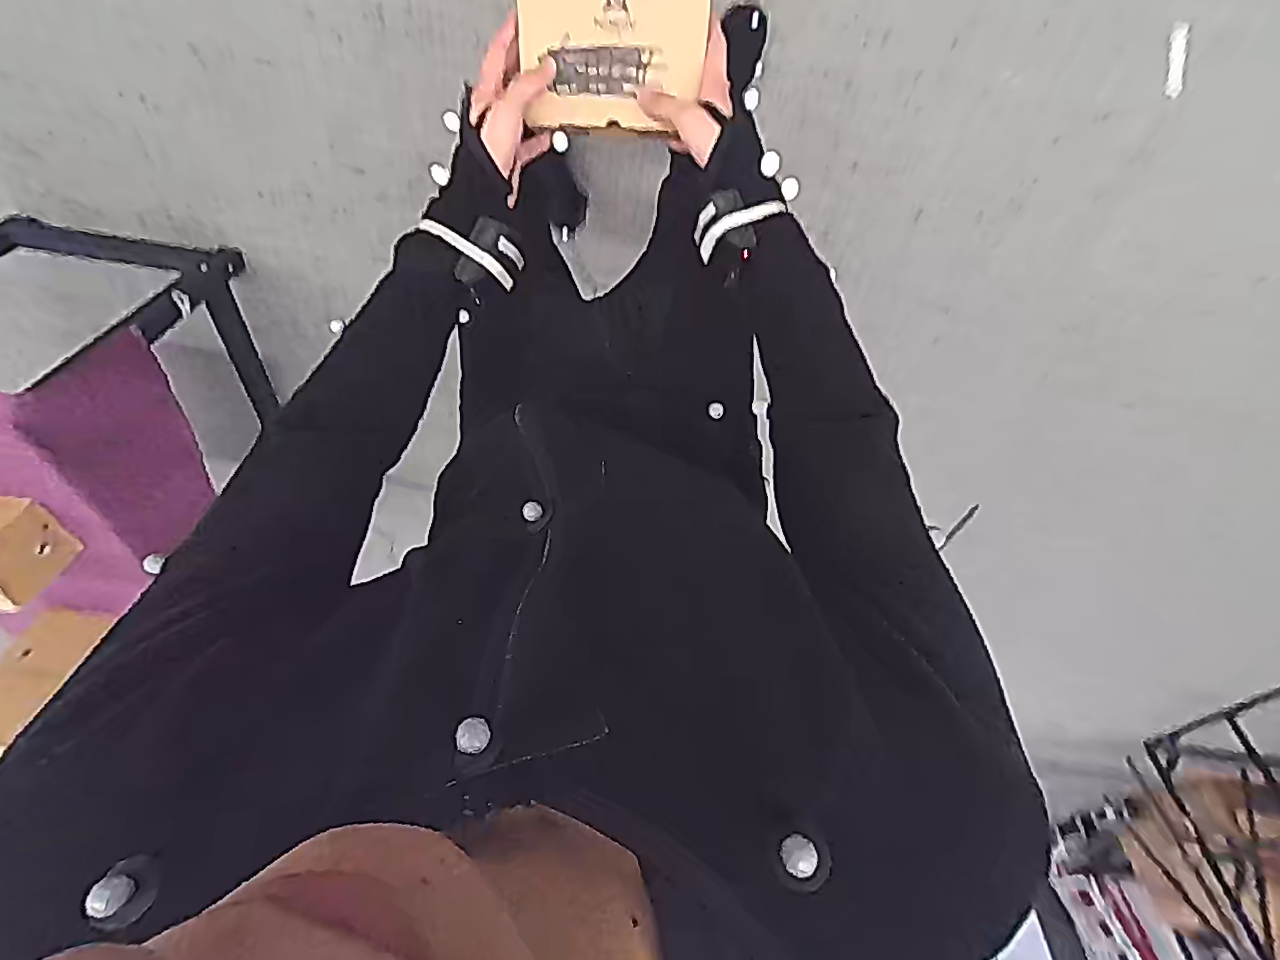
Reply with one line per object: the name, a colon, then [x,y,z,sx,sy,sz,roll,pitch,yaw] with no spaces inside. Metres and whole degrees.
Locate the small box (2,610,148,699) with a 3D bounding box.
small box: [-1.492,0.463,1.443,0.179,0.176,0.168,7,137,-4]

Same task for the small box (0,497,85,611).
small box: [-1.312,0.142,1.092,0.179,0.176,0.168,7,137,-3]

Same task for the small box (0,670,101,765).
small box: [-1.501,0.584,1.331,0.179,0.176,0.168,5,136,0]
